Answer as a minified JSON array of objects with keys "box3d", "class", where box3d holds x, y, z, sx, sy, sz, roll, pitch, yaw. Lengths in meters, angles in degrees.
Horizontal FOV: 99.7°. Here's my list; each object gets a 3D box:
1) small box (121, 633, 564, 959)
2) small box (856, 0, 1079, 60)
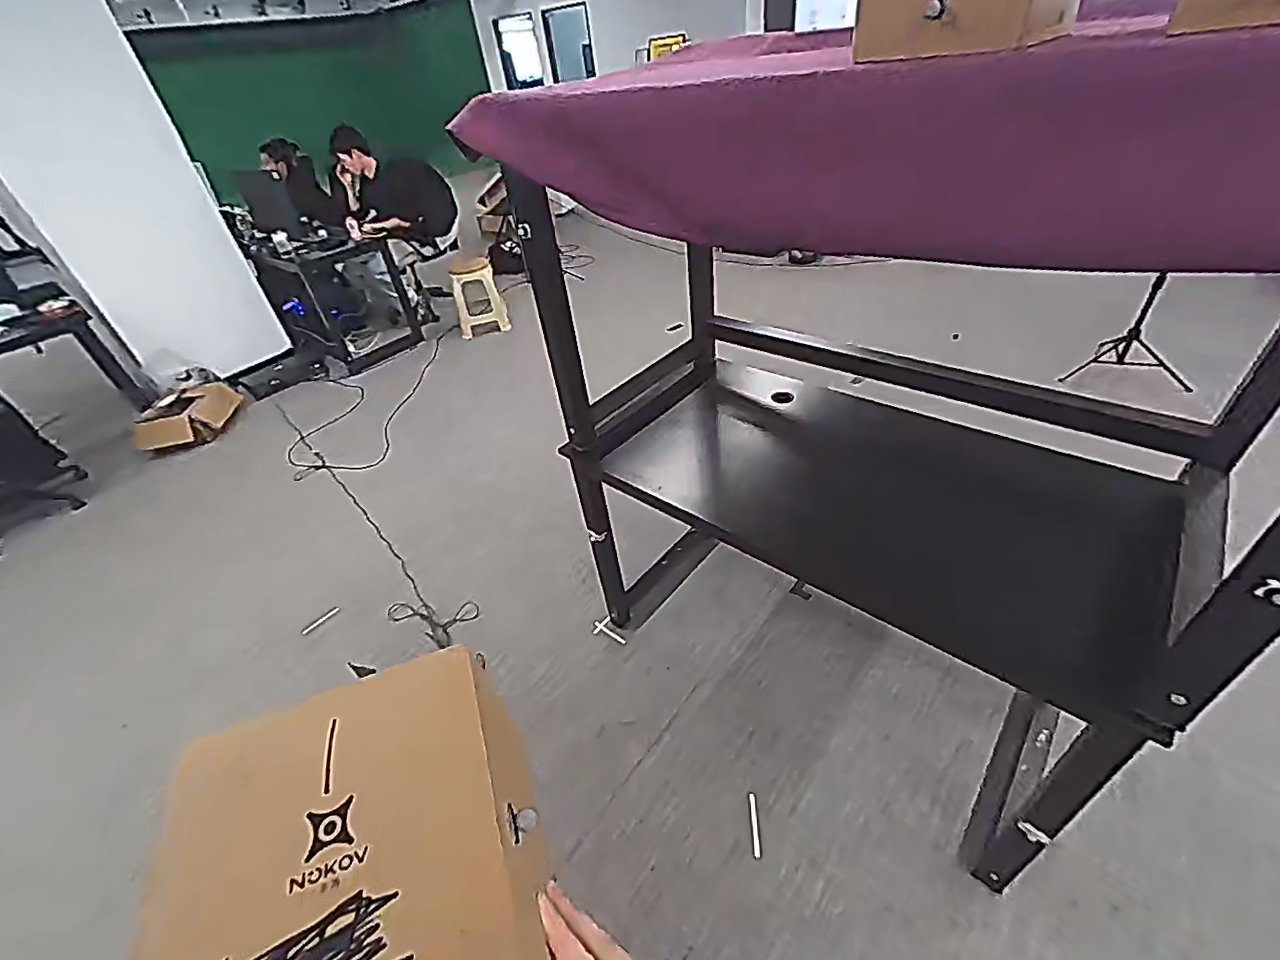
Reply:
[{"box3d":[-0.152,0.230,0.323,0.168,0.176,0.179,-17,48,-13],"class":"small box"},{"box3d":[0.348,-0.545,0.549,0.179,0.176,0.168,29,51,36],"class":"small box"}]
